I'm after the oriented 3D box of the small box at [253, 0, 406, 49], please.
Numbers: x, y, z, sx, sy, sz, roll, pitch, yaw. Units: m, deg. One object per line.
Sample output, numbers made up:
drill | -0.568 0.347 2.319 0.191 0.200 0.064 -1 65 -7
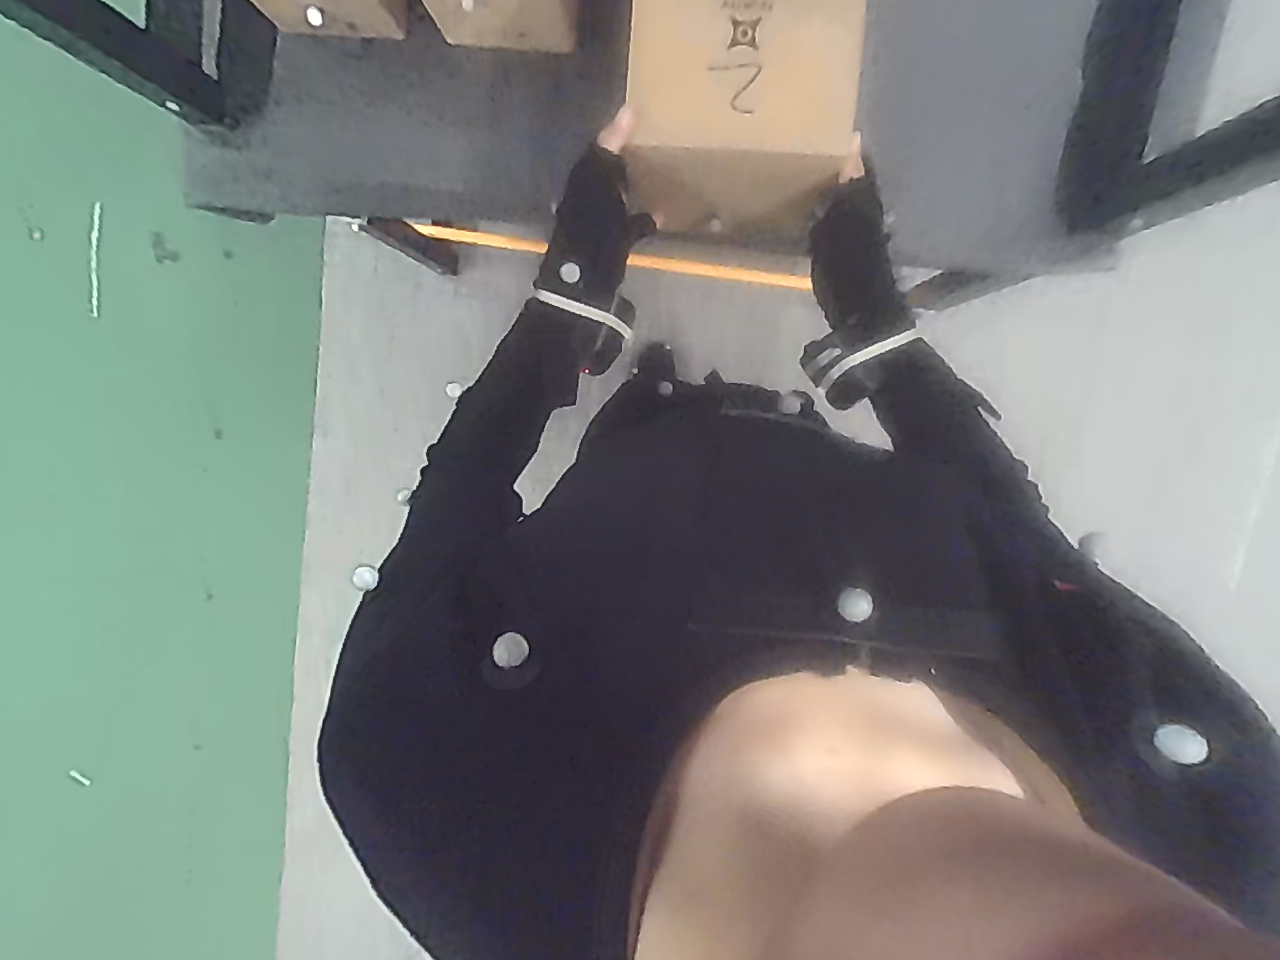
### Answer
small box | -0.377 -0.637 0.605 0.168 0.176 0.179 6 98 3
